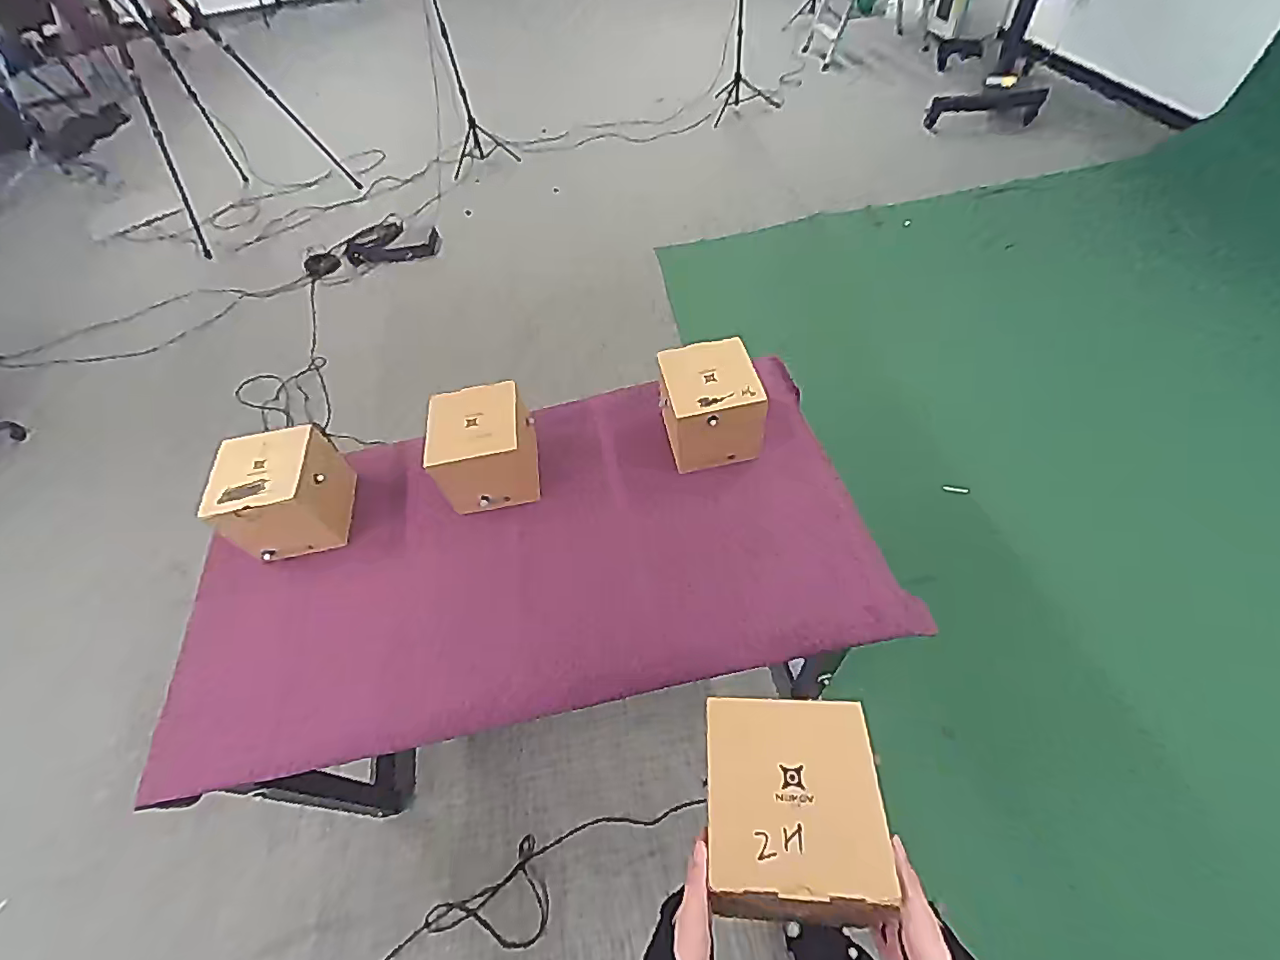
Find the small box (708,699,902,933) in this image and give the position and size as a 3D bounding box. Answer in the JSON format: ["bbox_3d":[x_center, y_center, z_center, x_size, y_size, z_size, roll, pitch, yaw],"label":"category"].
[{"bbox_3d":[0.158,0.362,0.586,0.168,0.176,0.179,0,46,7],"label":"small box"}]

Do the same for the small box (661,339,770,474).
[{"bbox_3d":[0.136,-0.138,1.035,0.168,0.176,0.179,-11,55,-2],"label":"small box"}]

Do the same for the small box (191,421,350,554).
[{"bbox_3d":[-0.661,0.022,0.995,0.168,0.176,0.179,-11,55,-3],"label":"small box"}]

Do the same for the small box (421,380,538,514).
[{"bbox_3d":[-0.293,-0.060,1.023,0.168,0.176,0.179,-10,56,-1],"label":"small box"}]
